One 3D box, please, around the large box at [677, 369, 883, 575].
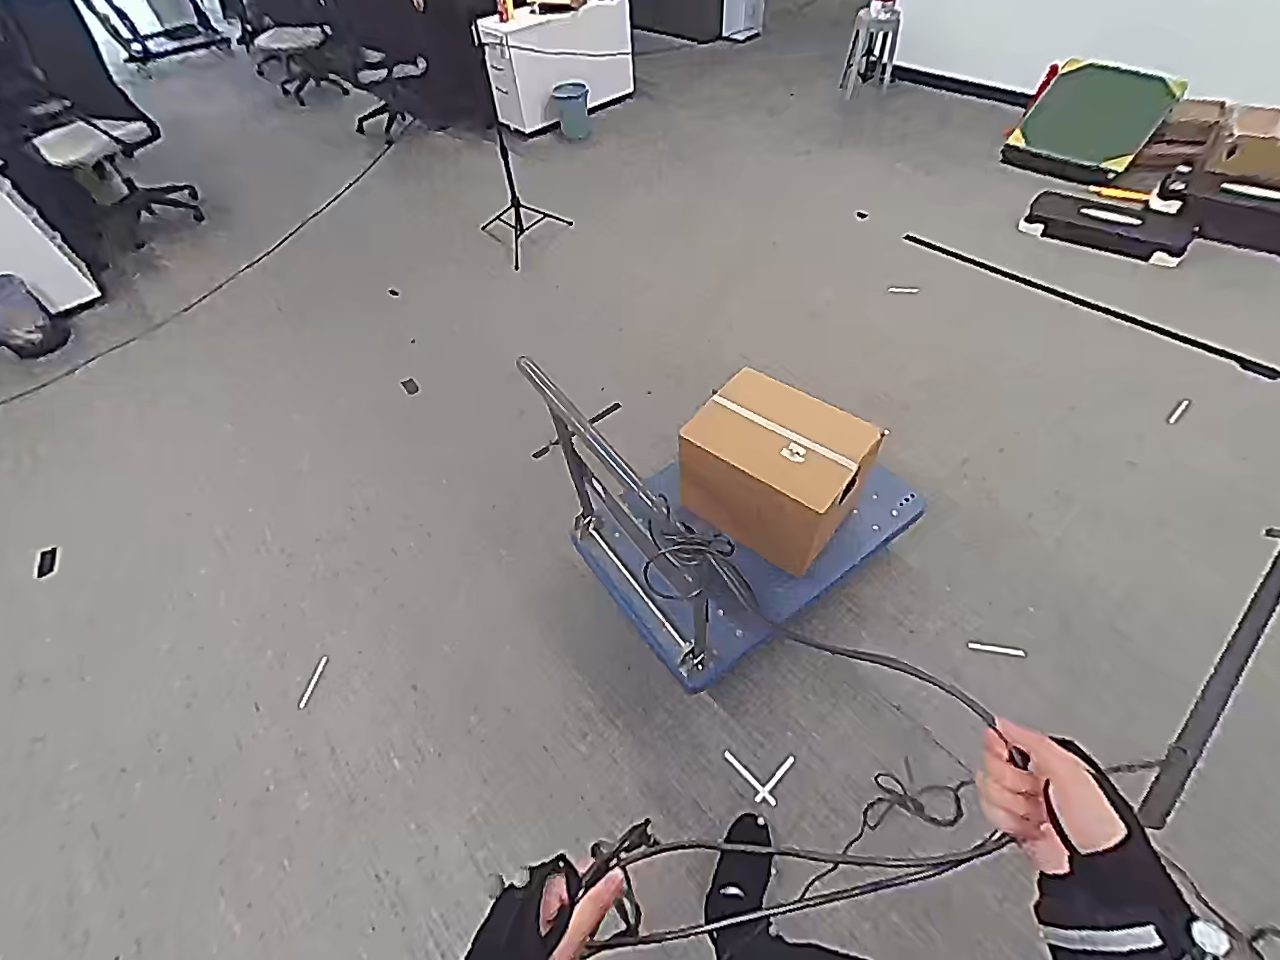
[{"bbox_3d":[0.346,-0.026,1.436,0.408,0.320,0.320,32,62,24],"label":"large box"}]
